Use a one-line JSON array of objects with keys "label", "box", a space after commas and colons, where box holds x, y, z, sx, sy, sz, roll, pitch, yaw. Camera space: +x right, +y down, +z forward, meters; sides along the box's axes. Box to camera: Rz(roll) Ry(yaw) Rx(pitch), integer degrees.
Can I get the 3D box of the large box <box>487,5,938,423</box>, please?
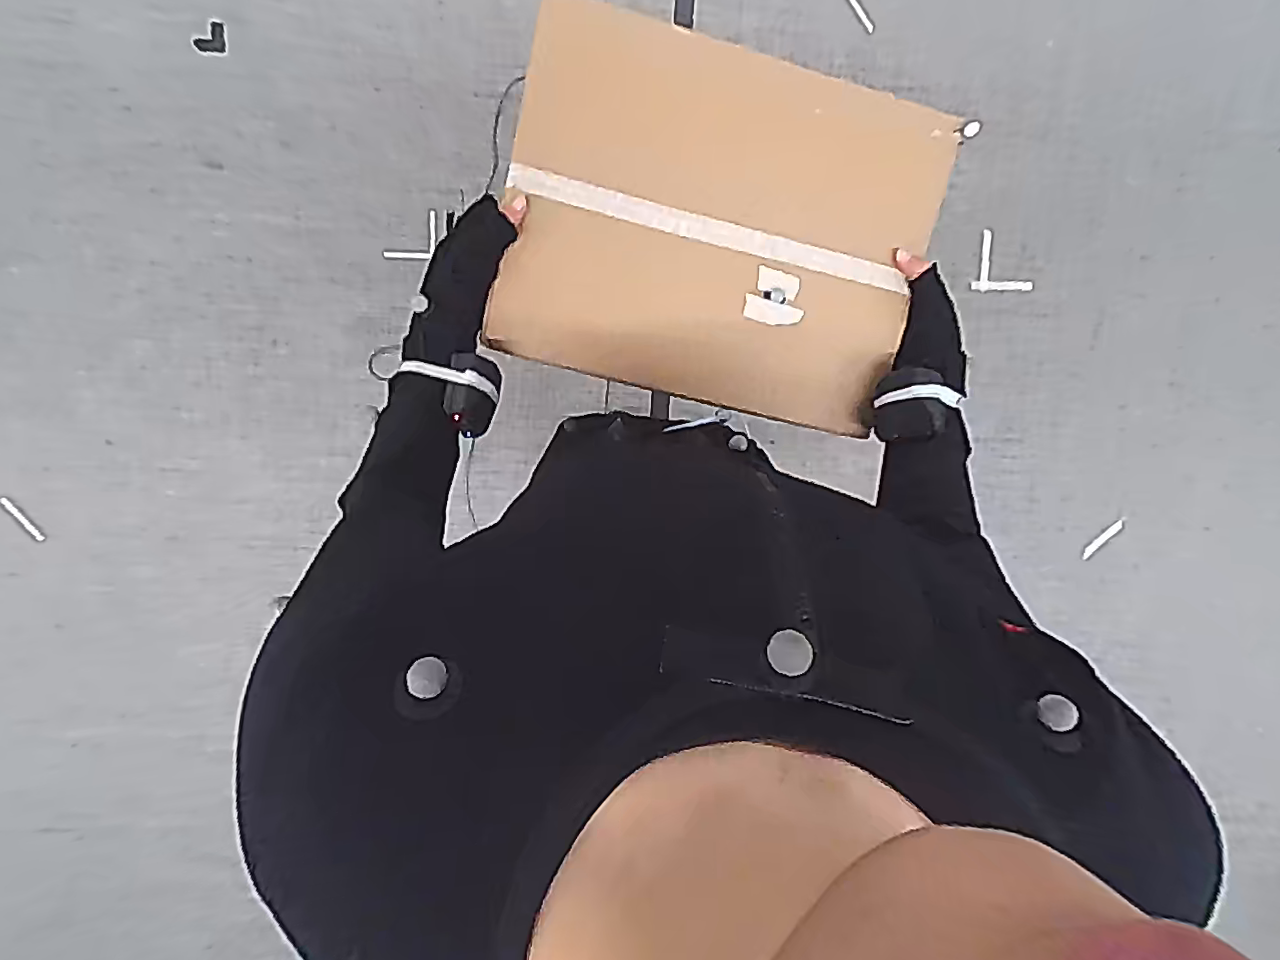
[{"label": "large box", "box": [0.057, -0.271, 0.677, 0.408, 0.320, 0.320, 12, 100, -8]}]
